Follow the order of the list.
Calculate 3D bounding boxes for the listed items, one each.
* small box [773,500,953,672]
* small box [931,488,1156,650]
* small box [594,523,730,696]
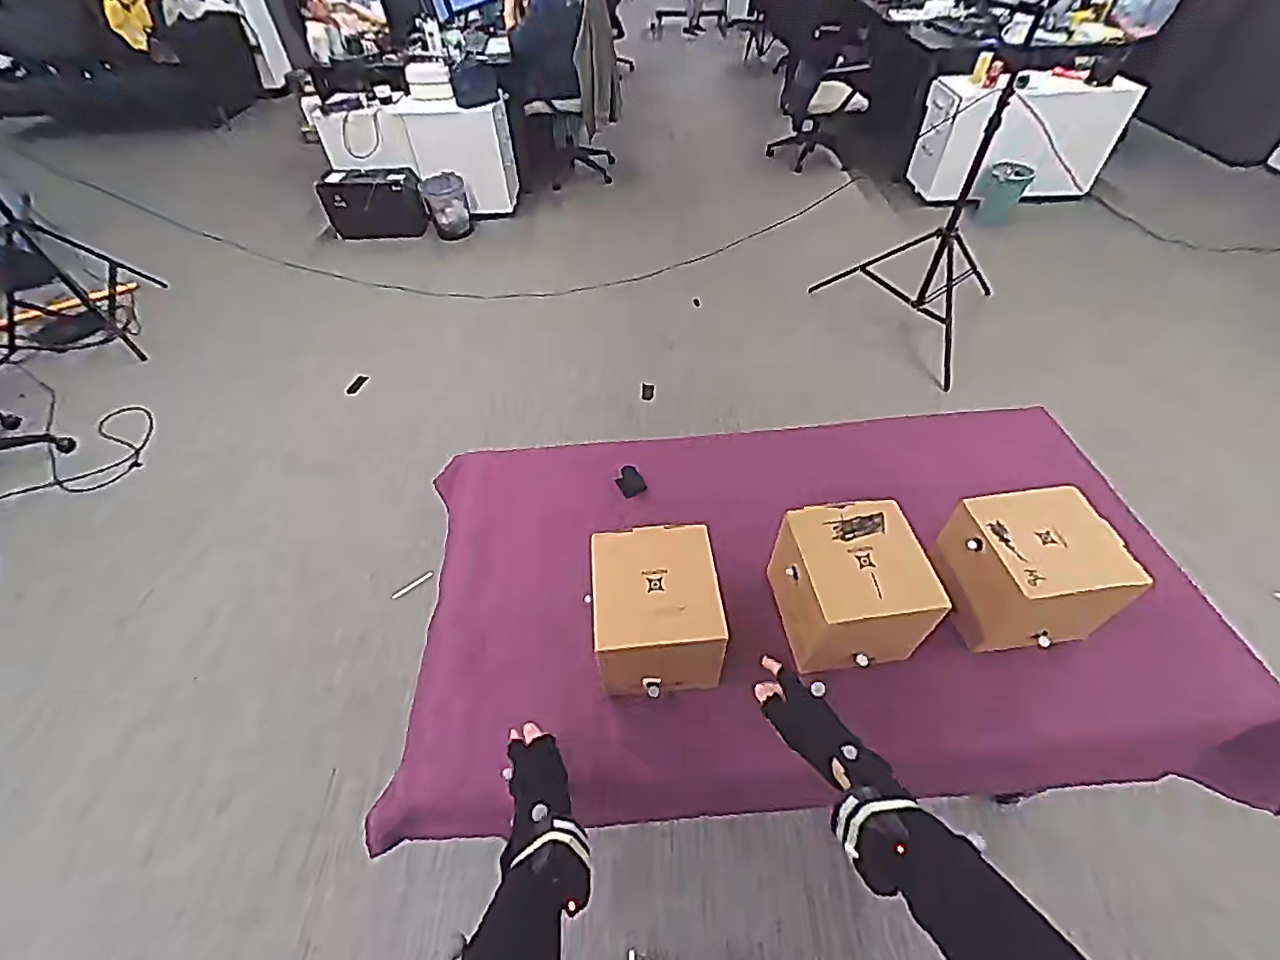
[{"bbox_3d":[0.302,0.154,0.782,0.168,0.176,0.179,-6,50,-3],"label":"small box"},{"bbox_3d":[0.565,0.133,0.792,0.179,0.176,0.168,-6,49,-3],"label":"small box"},{"bbox_3d":[0.025,0.184,0.767,0.168,0.176,0.179,-6,50,-2],"label":"small box"}]
